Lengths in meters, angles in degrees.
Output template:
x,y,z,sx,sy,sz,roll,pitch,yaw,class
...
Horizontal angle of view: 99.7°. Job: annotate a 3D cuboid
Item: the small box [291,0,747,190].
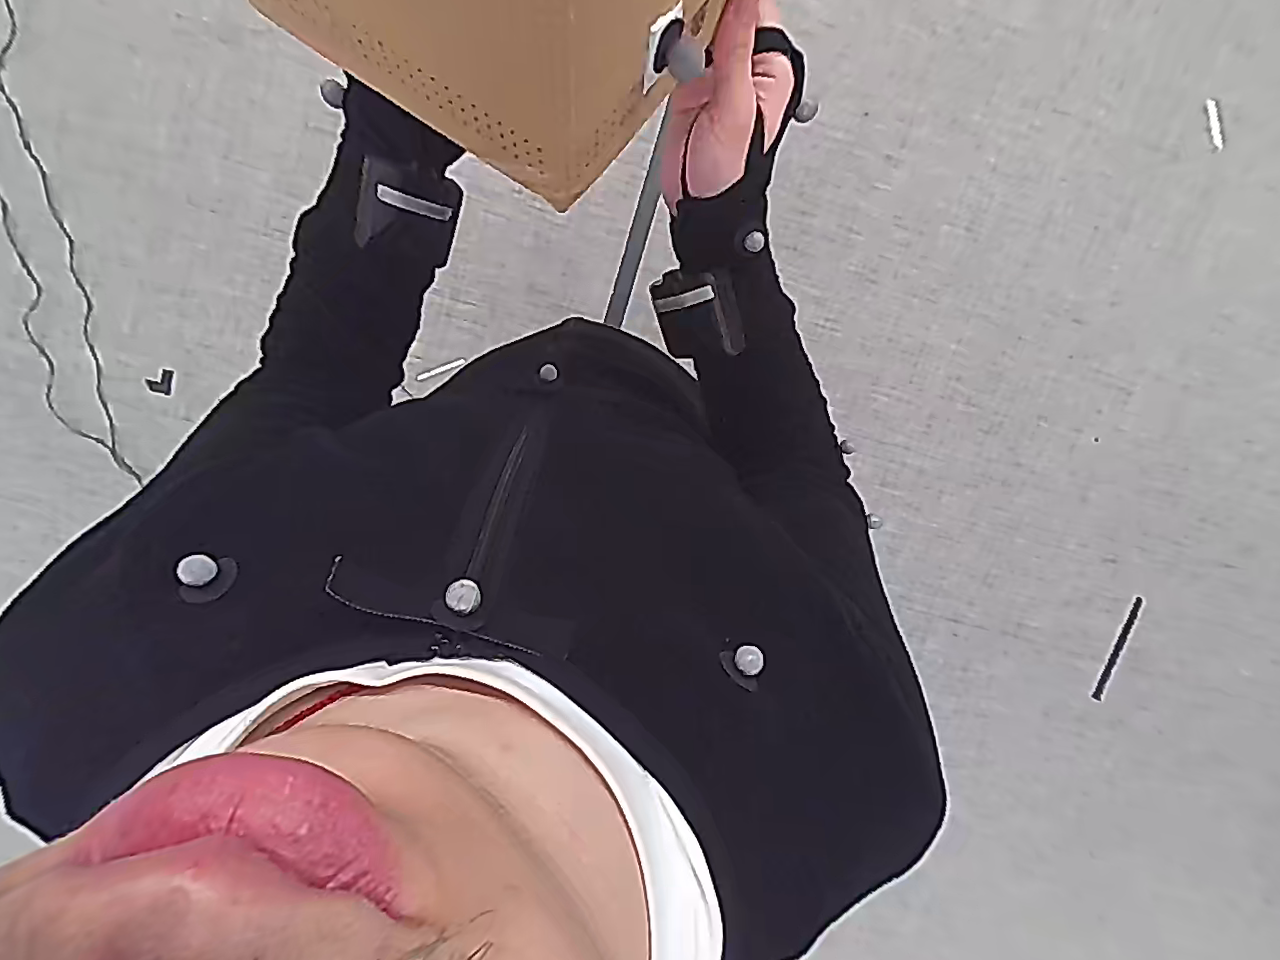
x,y,z,sx,sy,sz,roll,pitch,yaw,class
-0.044,-0.253,0.196,0.179,0.176,0.168,33,78,-1,small box
